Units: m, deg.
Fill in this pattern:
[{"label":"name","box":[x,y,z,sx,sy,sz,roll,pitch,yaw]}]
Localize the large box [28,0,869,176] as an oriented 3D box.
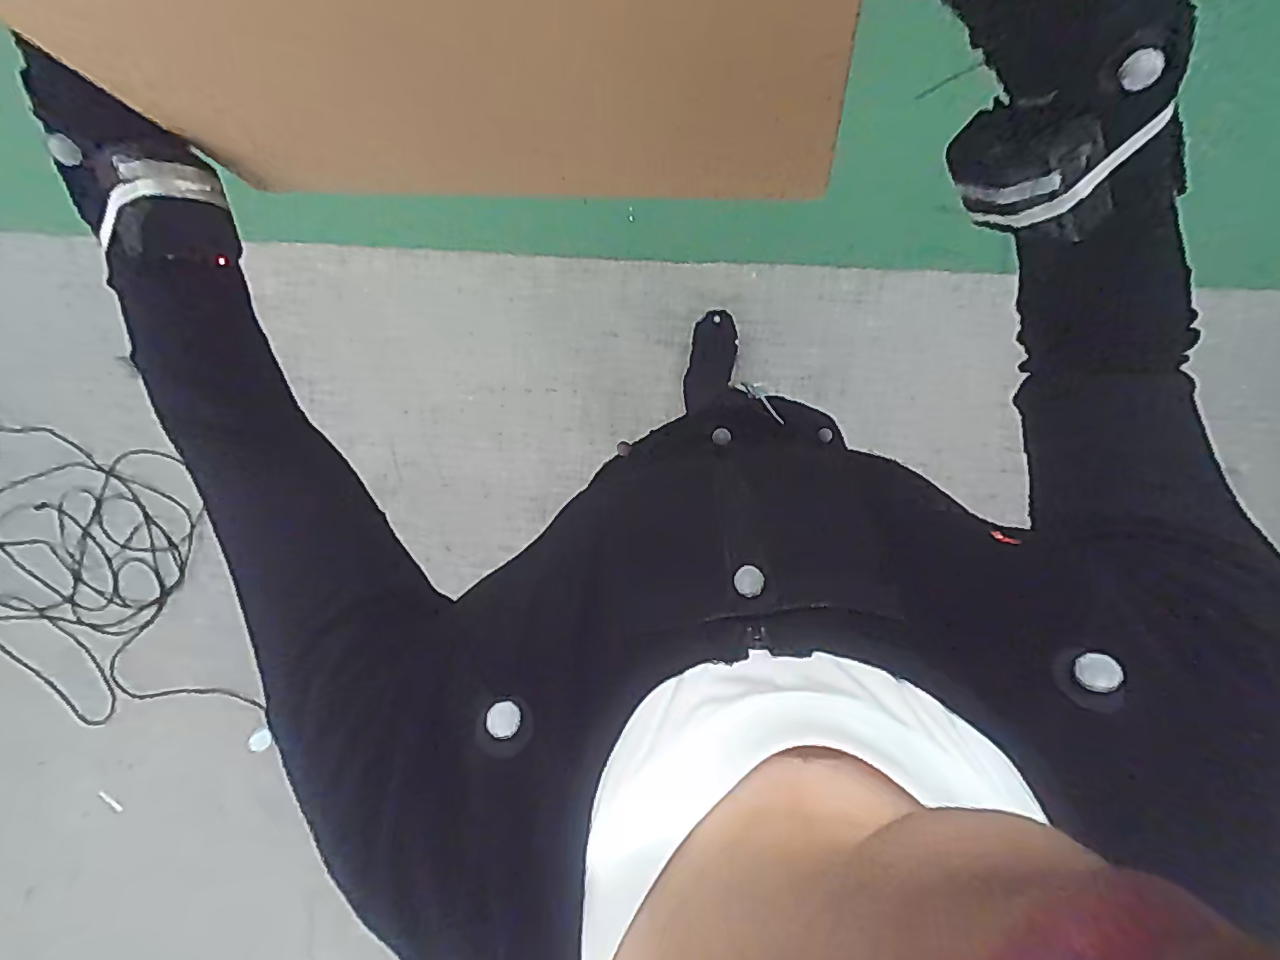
[{"label":"large box","box":[-0.094,-0.360,0.217,0.408,0.320,0.320,8,88,13]}]
